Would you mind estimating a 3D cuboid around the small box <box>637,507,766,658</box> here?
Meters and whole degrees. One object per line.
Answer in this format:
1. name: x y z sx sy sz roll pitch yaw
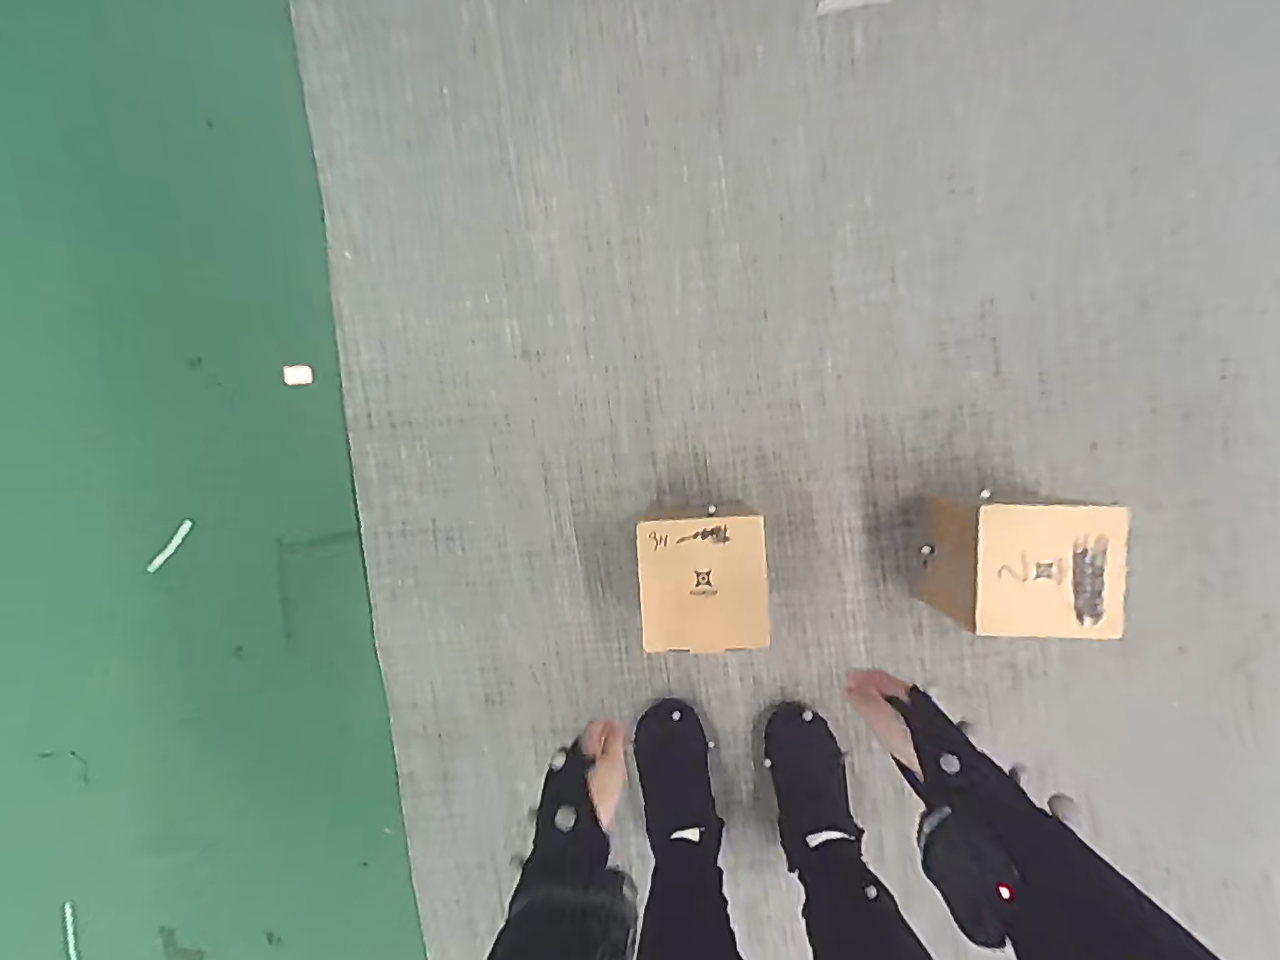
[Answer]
1. small box: 0.087 0.139 0.779 0.168 0.176 0.179 -3 94 5
